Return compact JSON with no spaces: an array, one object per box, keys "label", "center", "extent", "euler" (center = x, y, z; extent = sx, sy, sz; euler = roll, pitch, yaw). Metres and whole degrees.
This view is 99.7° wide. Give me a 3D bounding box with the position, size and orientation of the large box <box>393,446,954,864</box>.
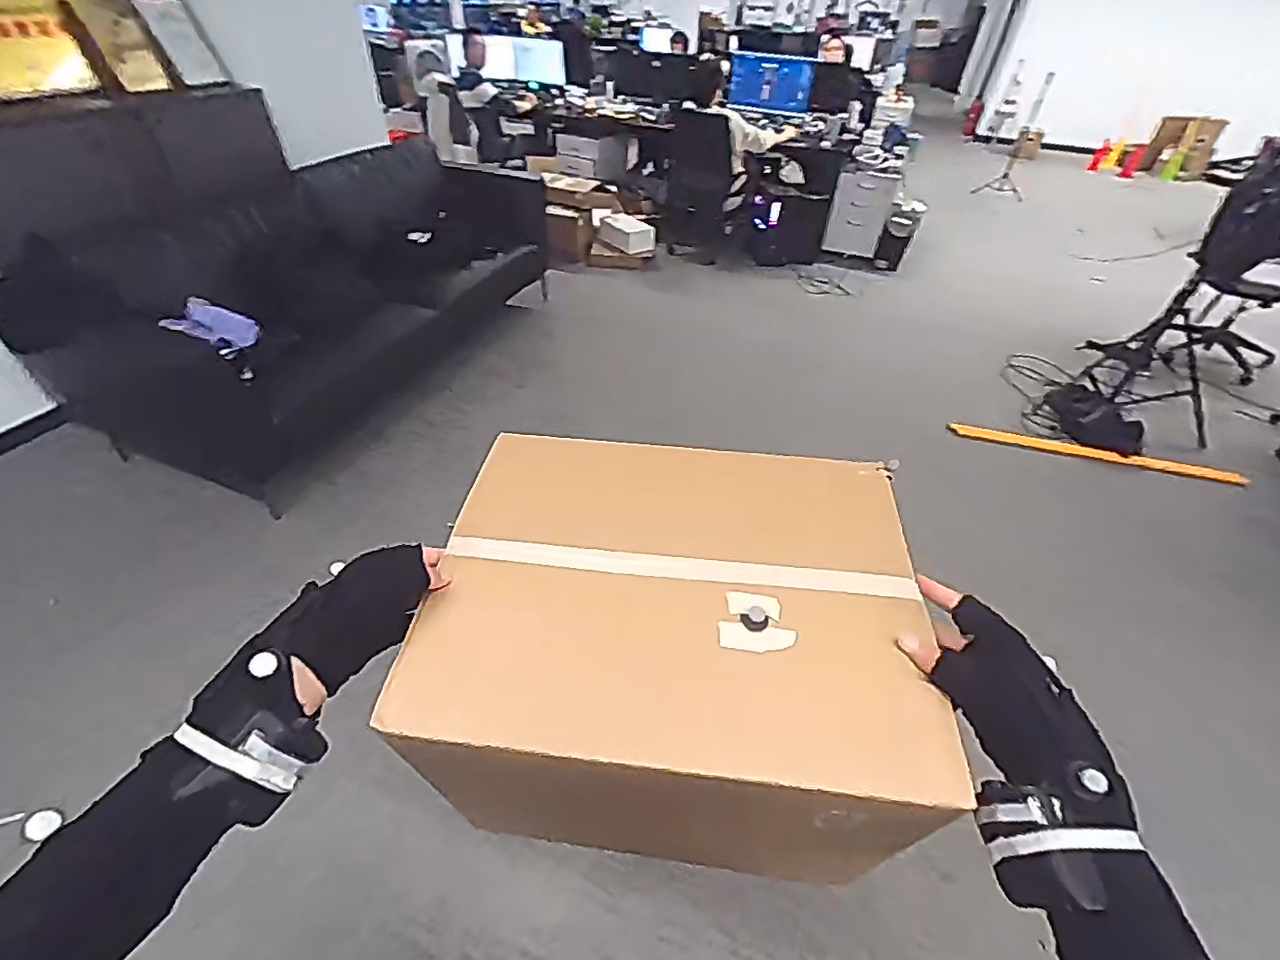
[{"label":"large box","center":[0.030,0.185,0.584],"extent":[0.408,0.320,0.320],"euler":[4,47,5]}]
